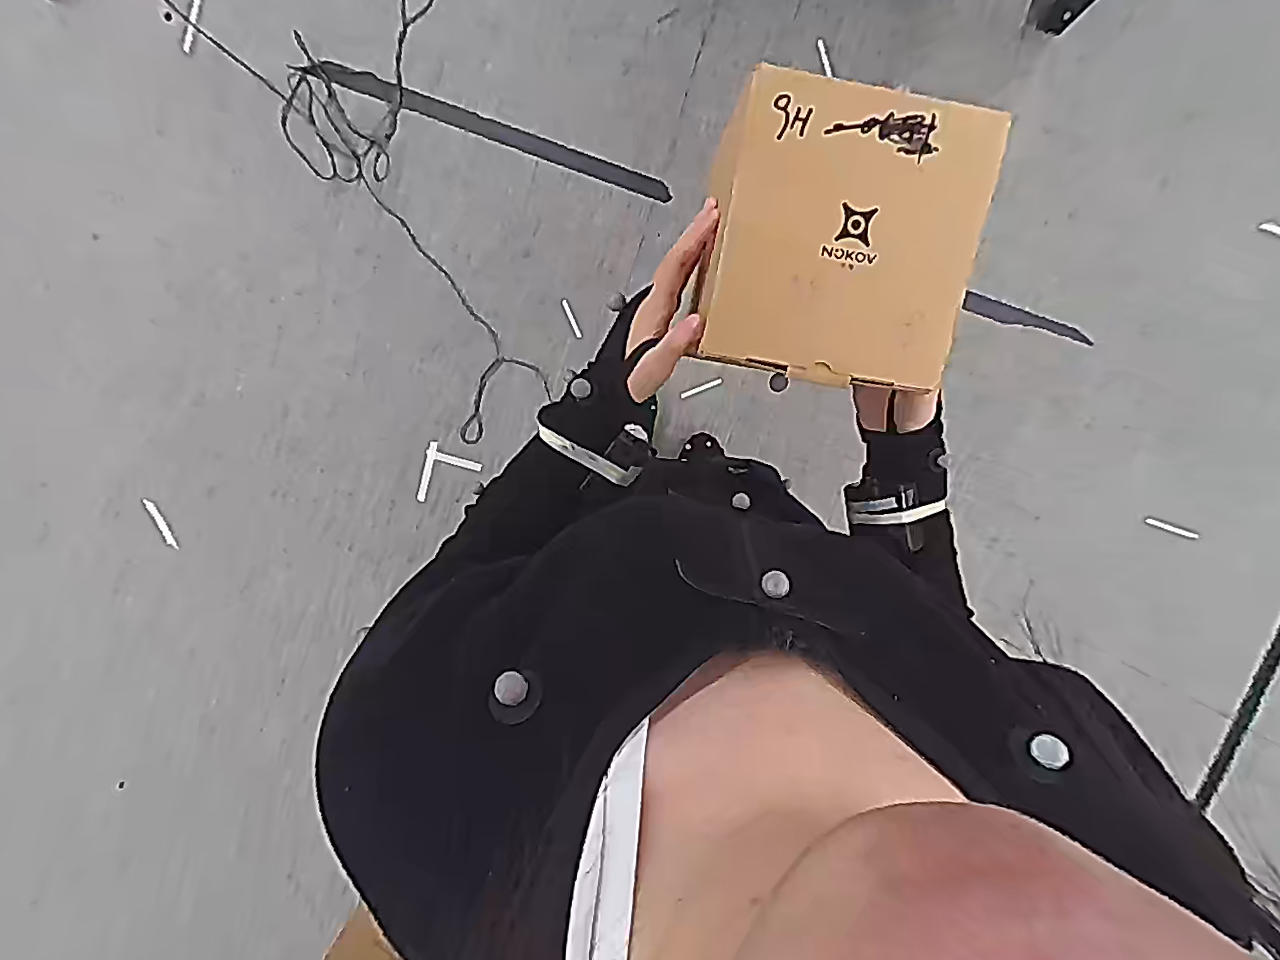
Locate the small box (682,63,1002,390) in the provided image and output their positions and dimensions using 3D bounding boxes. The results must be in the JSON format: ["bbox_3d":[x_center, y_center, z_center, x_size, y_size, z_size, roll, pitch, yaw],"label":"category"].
[{"bbox_3d":[0.131,-0.178,0.431,0.168,0.176,0.179,9,103,-4],"label":"small box"}]
